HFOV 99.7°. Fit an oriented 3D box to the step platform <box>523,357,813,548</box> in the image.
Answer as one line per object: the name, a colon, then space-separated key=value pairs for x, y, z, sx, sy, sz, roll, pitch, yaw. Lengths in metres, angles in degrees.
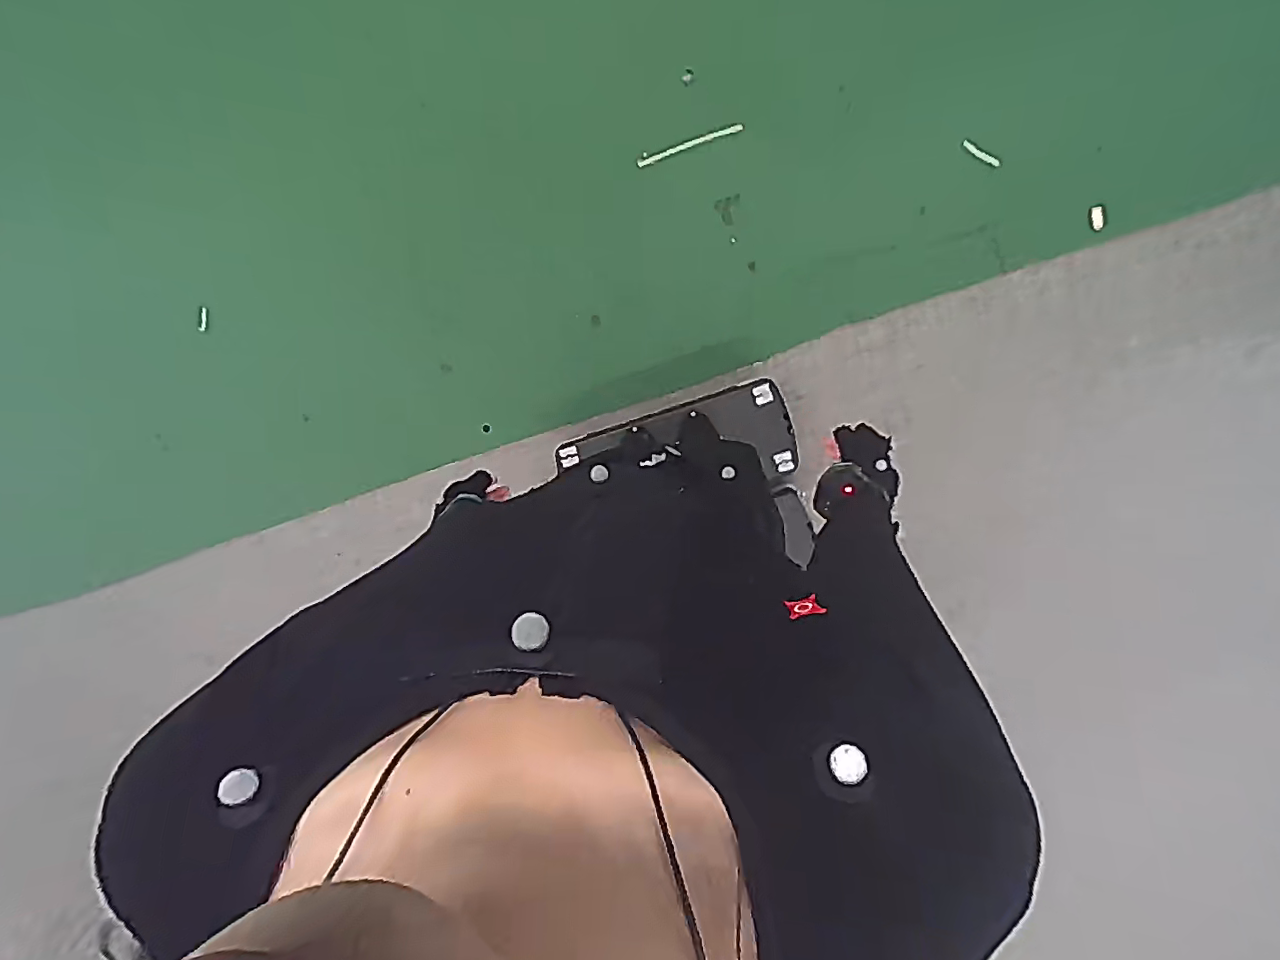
step platform: x=0.066 y=-0.071 z=1.374 sx=0.684 sy=0.204 sz=0.286 roll=-19 pitch=97 yaw=6
